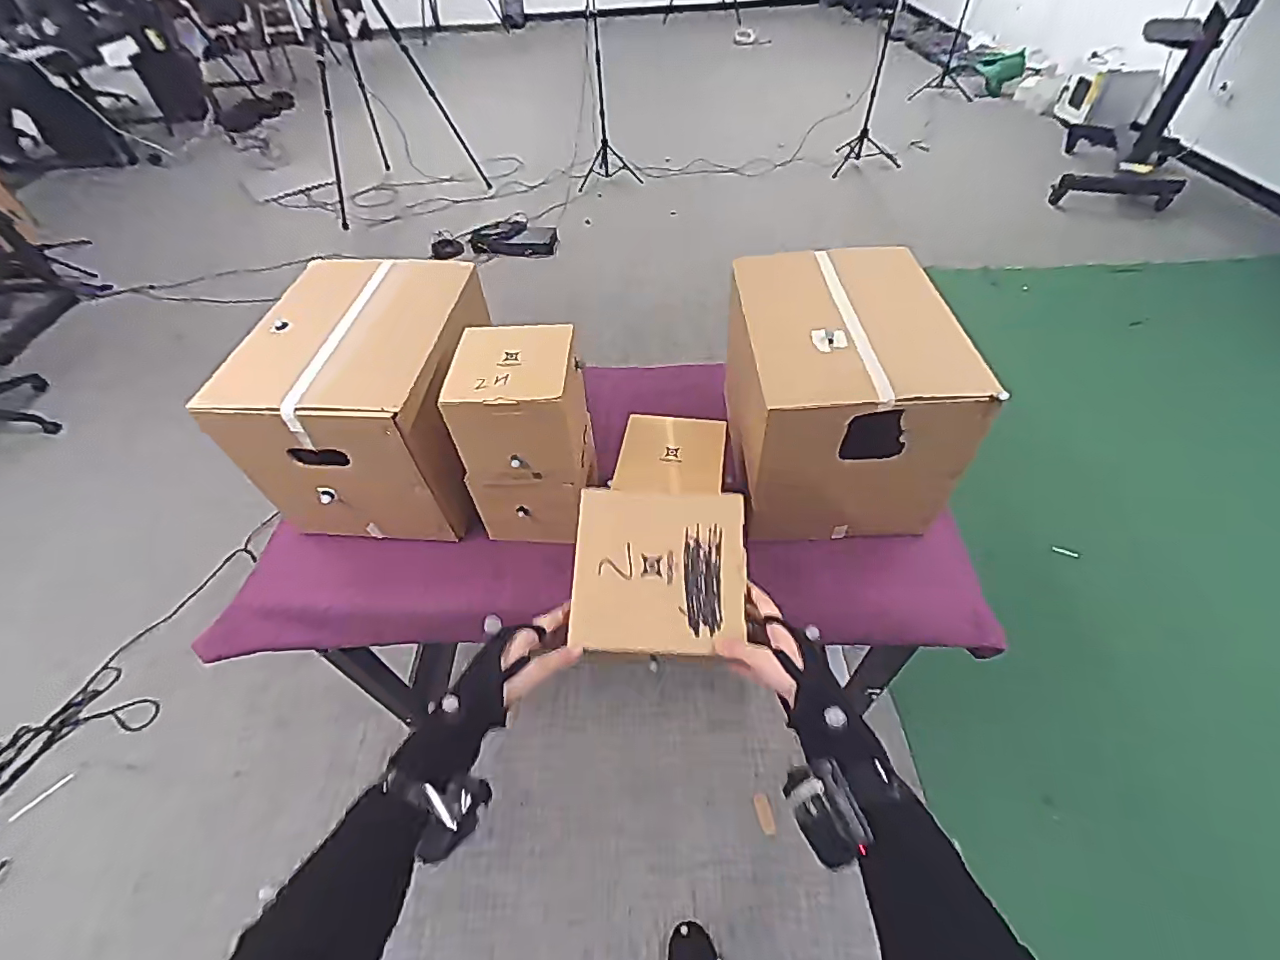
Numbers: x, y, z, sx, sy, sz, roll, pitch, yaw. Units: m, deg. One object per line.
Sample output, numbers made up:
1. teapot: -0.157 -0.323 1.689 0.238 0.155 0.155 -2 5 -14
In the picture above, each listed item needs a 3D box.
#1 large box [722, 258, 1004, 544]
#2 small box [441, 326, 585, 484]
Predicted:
1. large box: 0.329 -0.141 0.949 0.320 0.320 0.408 -3 50 3
2. small box: -0.177 -0.114 0.820 0.168 0.176 0.179 -1 49 3
